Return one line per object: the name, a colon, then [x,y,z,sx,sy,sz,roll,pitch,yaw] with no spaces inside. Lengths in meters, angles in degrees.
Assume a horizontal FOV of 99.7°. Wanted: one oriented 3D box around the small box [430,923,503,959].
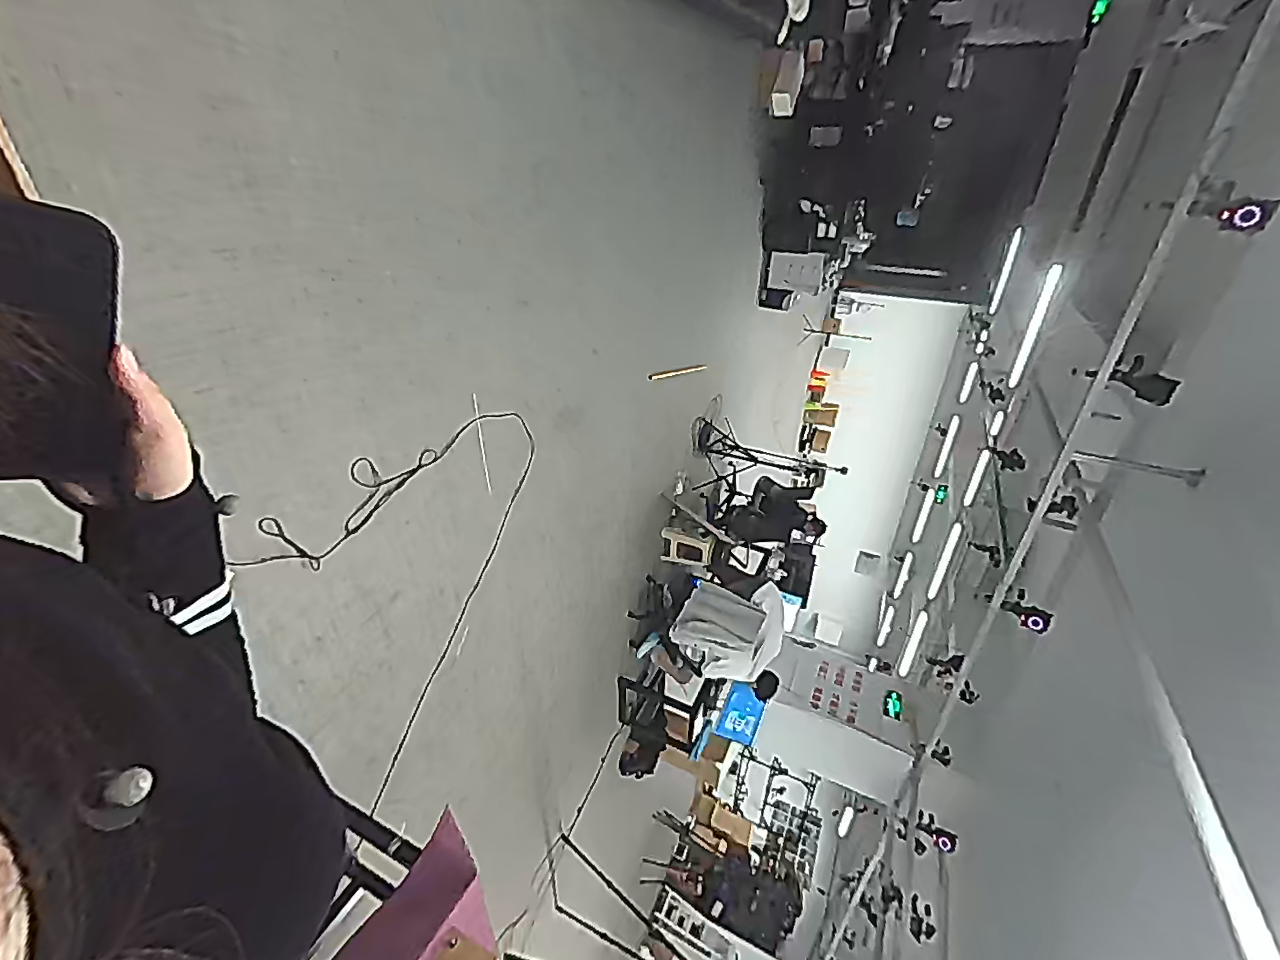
small box: [-0.507,1.417,1.540,0.168,0.176,0.179,-45,145,-49]
